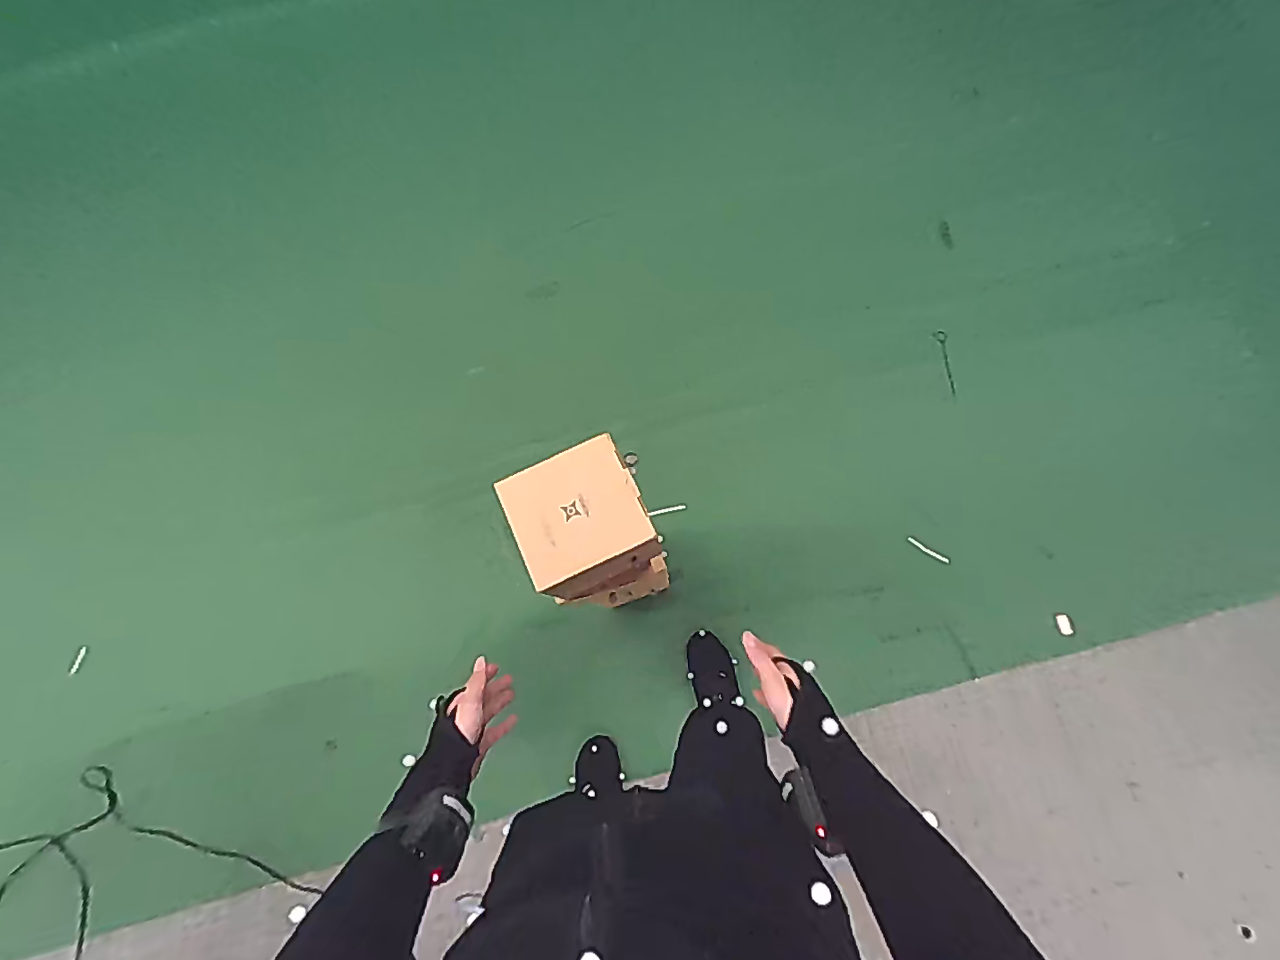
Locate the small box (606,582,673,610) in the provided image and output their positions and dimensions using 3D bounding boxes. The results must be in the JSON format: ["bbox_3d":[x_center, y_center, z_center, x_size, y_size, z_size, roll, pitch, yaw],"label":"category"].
[{"bbox_3d":[-0.022,0.236,1.430,0.179,0.176,0.168,-19,74,-2],"label":"small box"}]

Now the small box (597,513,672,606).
[{"bbox_3d":[-0.031,0.191,1.275,0.179,0.176,0.168,-18,74,-1],"label":"small box"}]

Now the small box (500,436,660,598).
[{"bbox_3d":[-0.079,0.063,0.803,0.179,0.176,0.168,-25,73,-2],"label":"small box"}]

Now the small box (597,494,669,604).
[{"bbox_3d":[-0.047,0.150,1.117,0.179,0.176,0.168,-20,74,-2],"label":"small box"}]

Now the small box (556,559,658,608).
[{"bbox_3d":[-0.069,0.120,0.957,0.168,0.176,0.179,-17,75,-1],"label":"small box"}]
